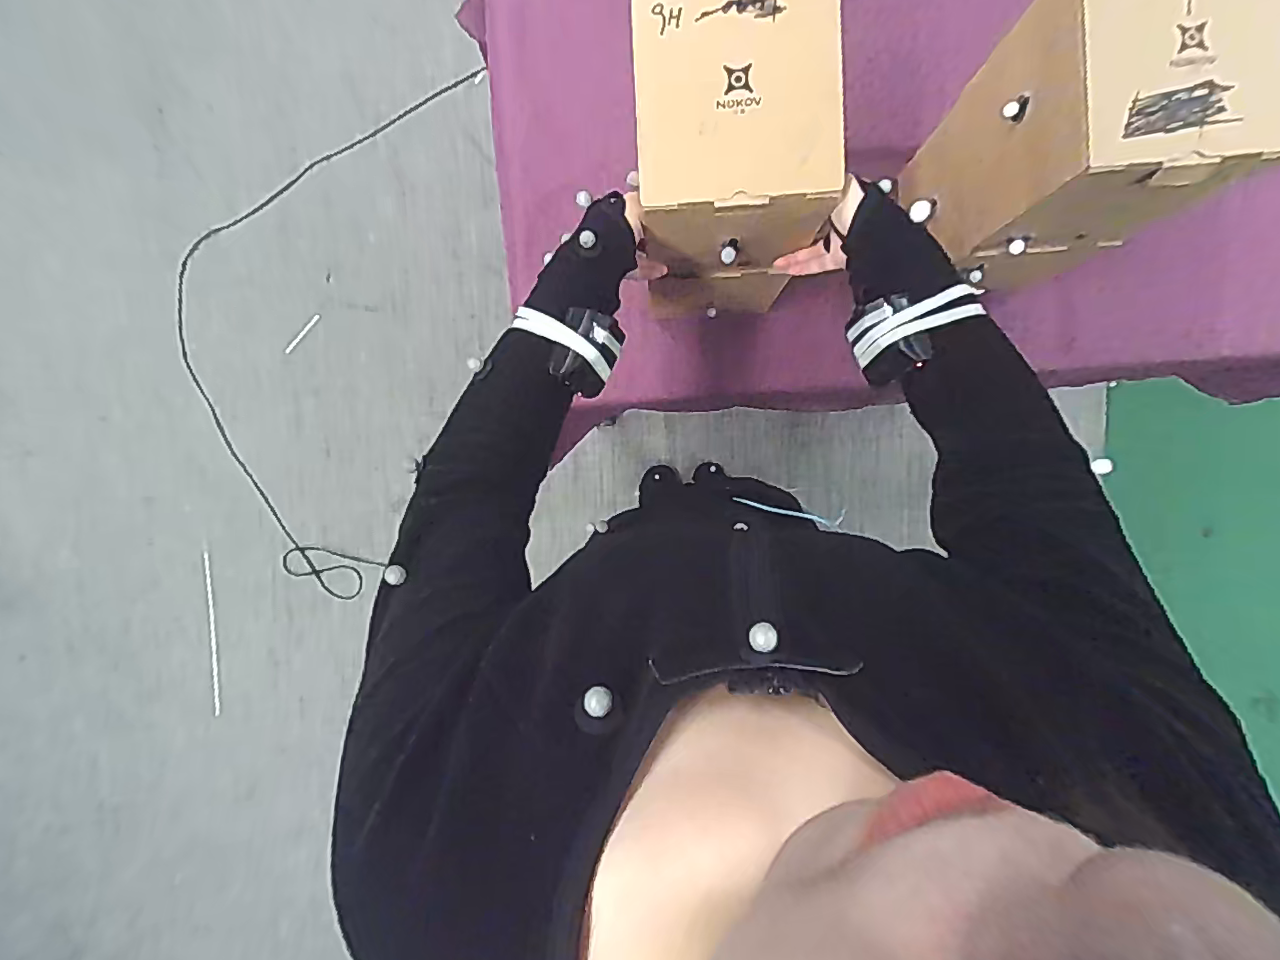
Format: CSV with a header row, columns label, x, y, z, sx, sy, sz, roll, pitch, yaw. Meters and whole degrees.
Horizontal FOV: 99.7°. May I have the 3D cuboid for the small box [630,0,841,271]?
label,x,y,z,sx,sy,sz,roll,pitch,yaw
small box,0.083,-0.311,0.514,0.168,0.176,0.179,-3,93,4

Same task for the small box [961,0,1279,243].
label,x,y,z,sx,sy,sz,roll,pitch,yaw
small box,0.429,-0.338,0.503,0.168,0.176,0.179,-4,90,2

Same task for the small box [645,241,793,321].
label,x,y,z,sx,sy,sz,roll,pitch,yaw
small box,0.089,-0.313,0.681,0.168,0.176,0.179,-3,92,3
